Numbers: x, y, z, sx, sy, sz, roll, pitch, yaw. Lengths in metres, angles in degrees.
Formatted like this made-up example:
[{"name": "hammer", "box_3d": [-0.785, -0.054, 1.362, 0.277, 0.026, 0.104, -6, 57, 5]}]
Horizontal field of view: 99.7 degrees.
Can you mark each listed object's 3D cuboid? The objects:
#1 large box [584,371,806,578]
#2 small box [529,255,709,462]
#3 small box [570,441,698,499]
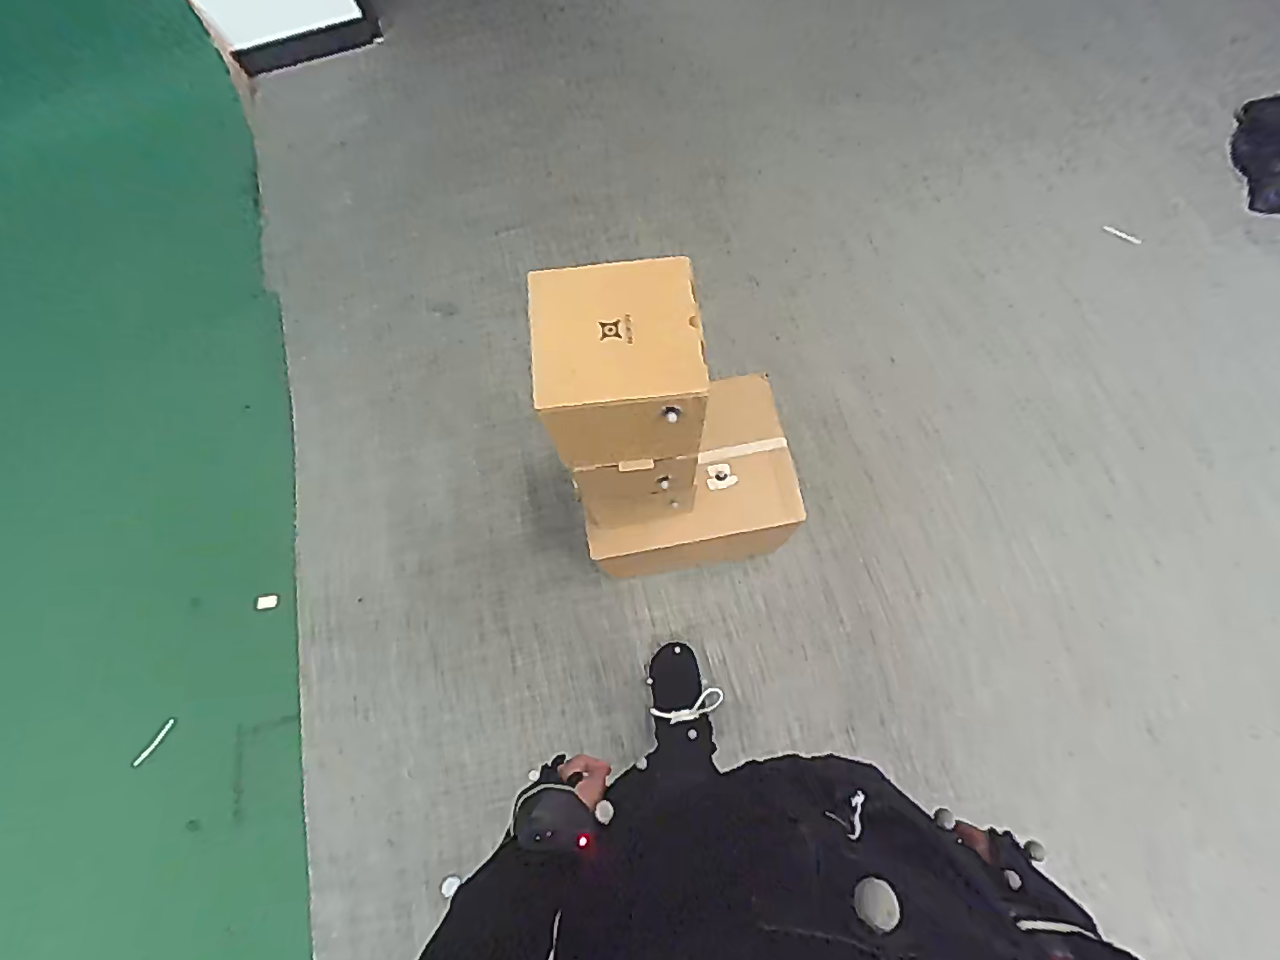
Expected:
[{"name": "large box", "box_3d": [0.090, 0.007, 1.173, 0.408, 0.320, 0.320, -11, 73, -1]}, {"name": "small box", "box_3d": [-0.022, -0.128, 0.624, 0.179, 0.176, 0.168, -6, 72, -1]}, {"name": "small box", "box_3d": [-0.013, -0.078, 0.779, 0.168, 0.176, 0.179, -7, 71, -1]}]
